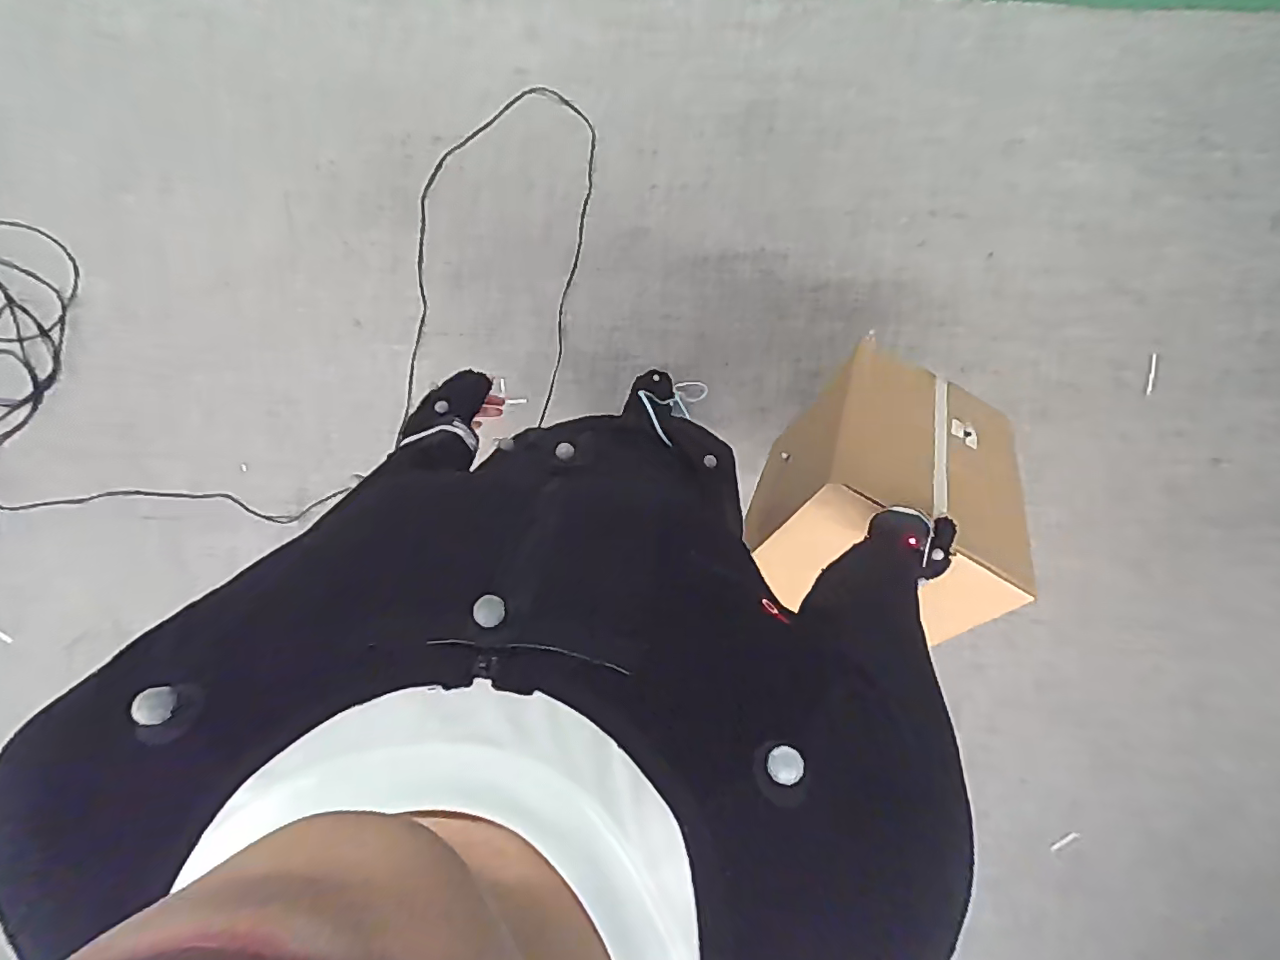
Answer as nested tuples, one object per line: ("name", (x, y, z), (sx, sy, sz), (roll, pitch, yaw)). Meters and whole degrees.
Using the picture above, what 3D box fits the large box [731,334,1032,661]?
("large box", (0.401, 0.029, 0.944), (0.320, 0.408, 0.320), (31, 138, -1))
